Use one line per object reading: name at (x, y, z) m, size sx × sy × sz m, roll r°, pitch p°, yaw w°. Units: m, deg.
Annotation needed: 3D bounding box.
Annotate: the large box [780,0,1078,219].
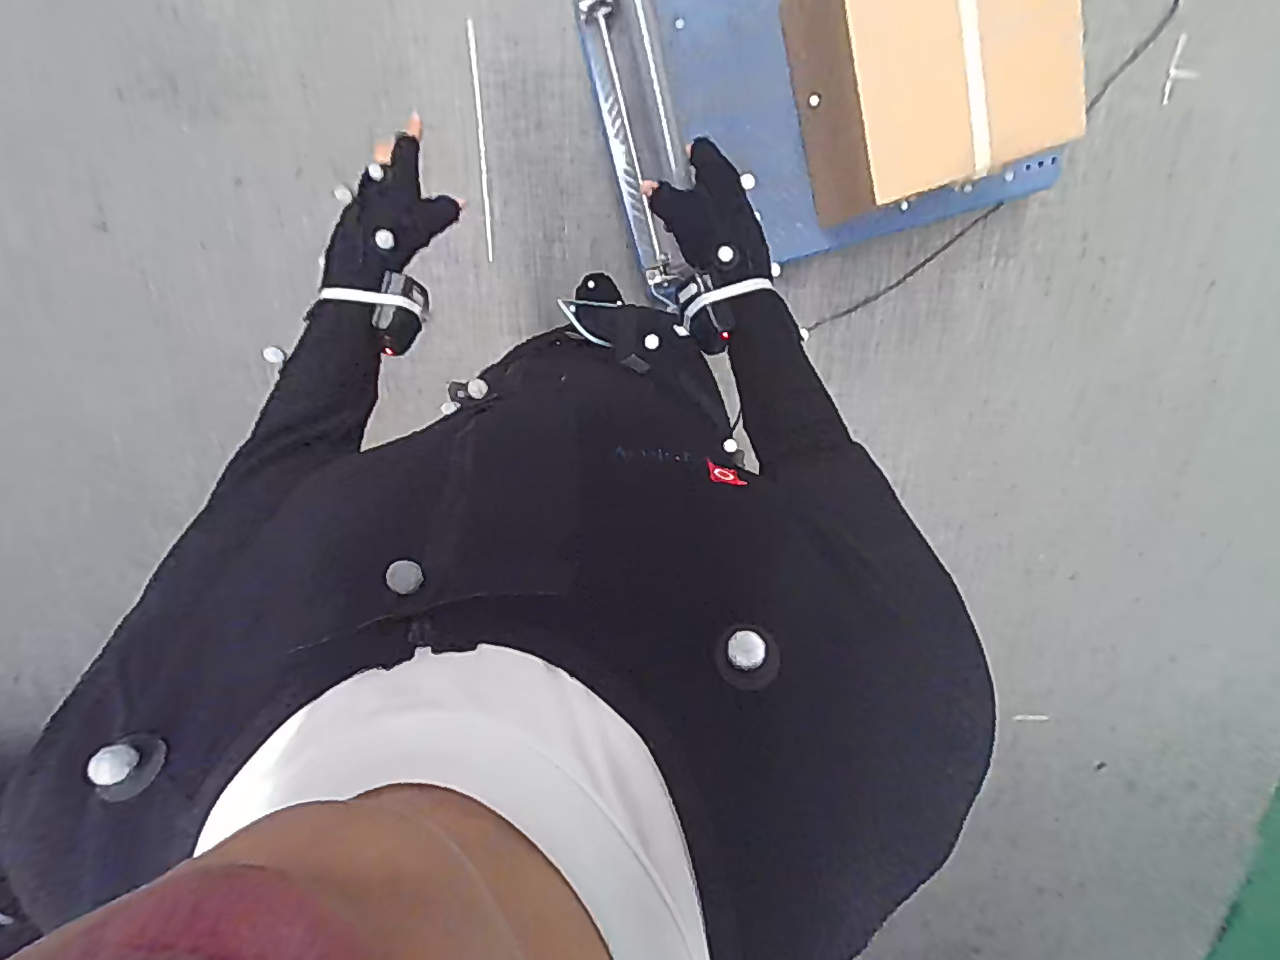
large box at (0.454, -0.712, 0.907) m, size 0.320 × 0.320 × 0.408 m, roll -16°, pitch 108°, yaw 6°
